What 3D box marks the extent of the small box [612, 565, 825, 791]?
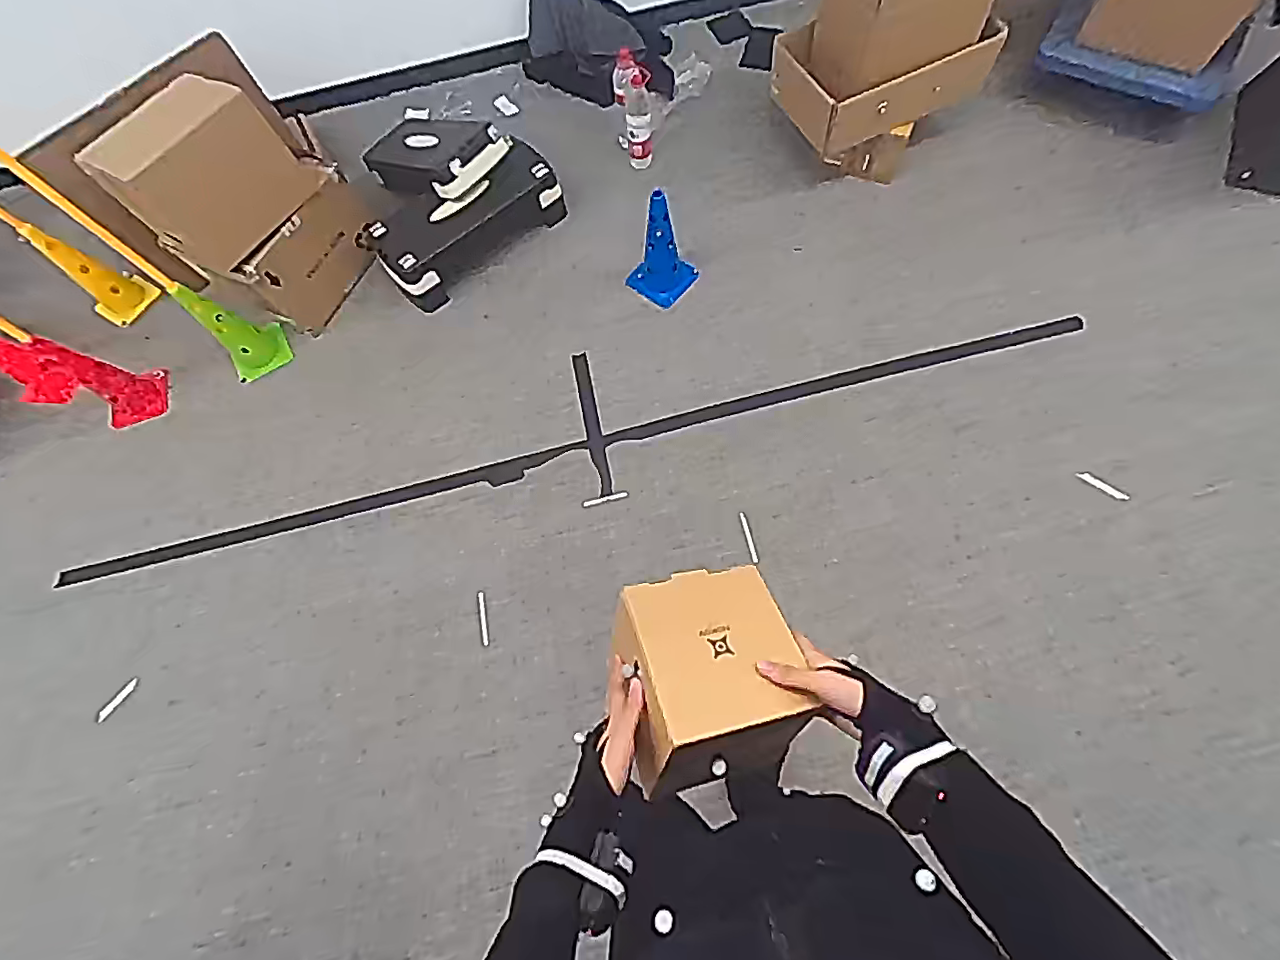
[{"bbox_3d":[0.072,0.225,0.610,0.168,0.176,0.179,-7,45,-17],"label":"small box"}]
